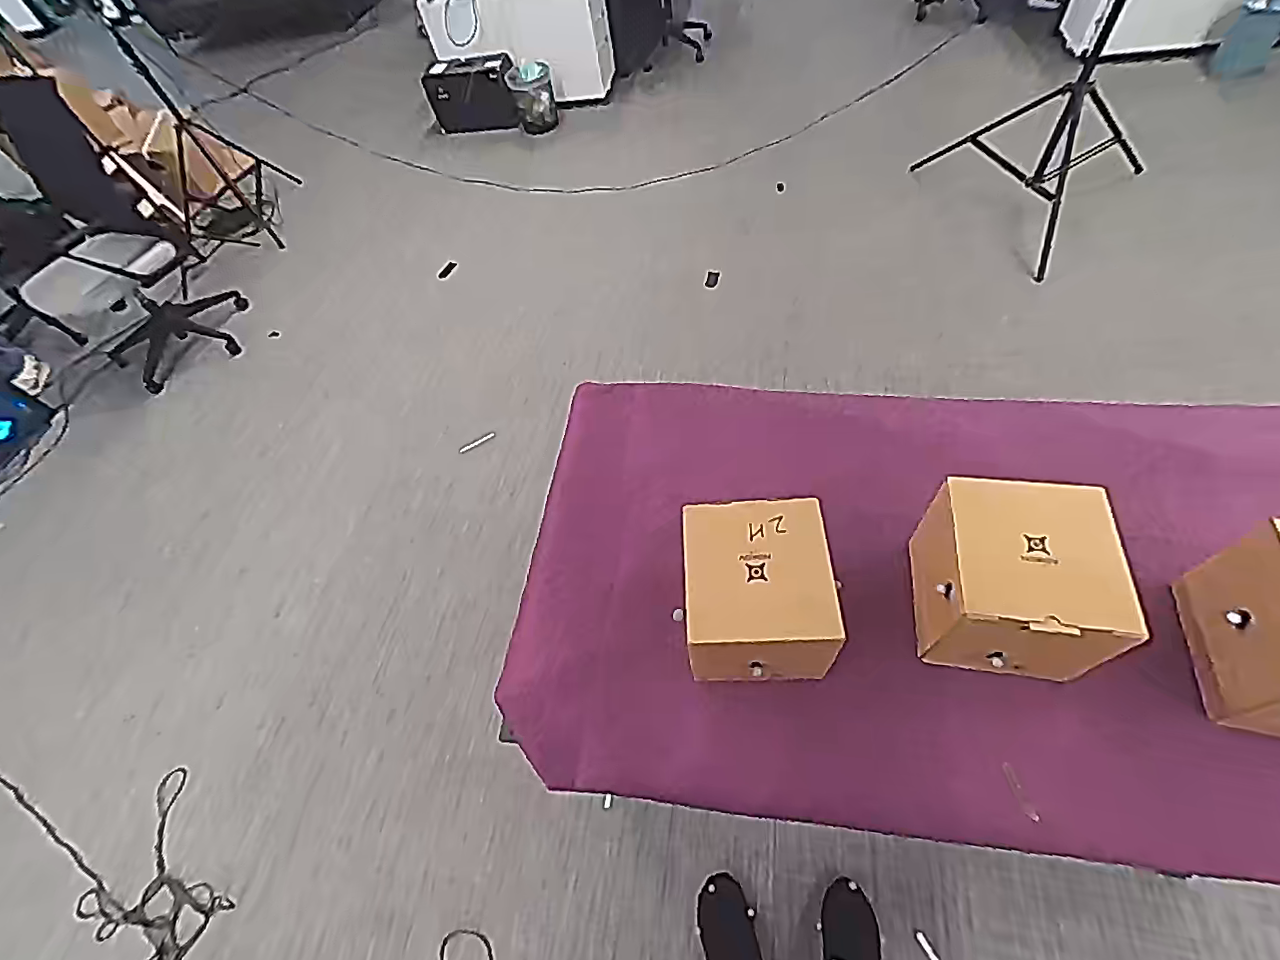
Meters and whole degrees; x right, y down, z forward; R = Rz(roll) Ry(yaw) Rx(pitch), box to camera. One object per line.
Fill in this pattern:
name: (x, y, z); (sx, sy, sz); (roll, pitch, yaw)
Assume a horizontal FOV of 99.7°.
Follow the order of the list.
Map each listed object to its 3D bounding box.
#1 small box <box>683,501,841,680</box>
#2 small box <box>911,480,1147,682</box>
small box: (0.143, 0.146, 0.680); (0.168, 0.176, 0.179); (-3, 55, 7)
small box: (0.439, 0.122, 0.650); (0.168, 0.176, 0.179); (5, 57, 13)
